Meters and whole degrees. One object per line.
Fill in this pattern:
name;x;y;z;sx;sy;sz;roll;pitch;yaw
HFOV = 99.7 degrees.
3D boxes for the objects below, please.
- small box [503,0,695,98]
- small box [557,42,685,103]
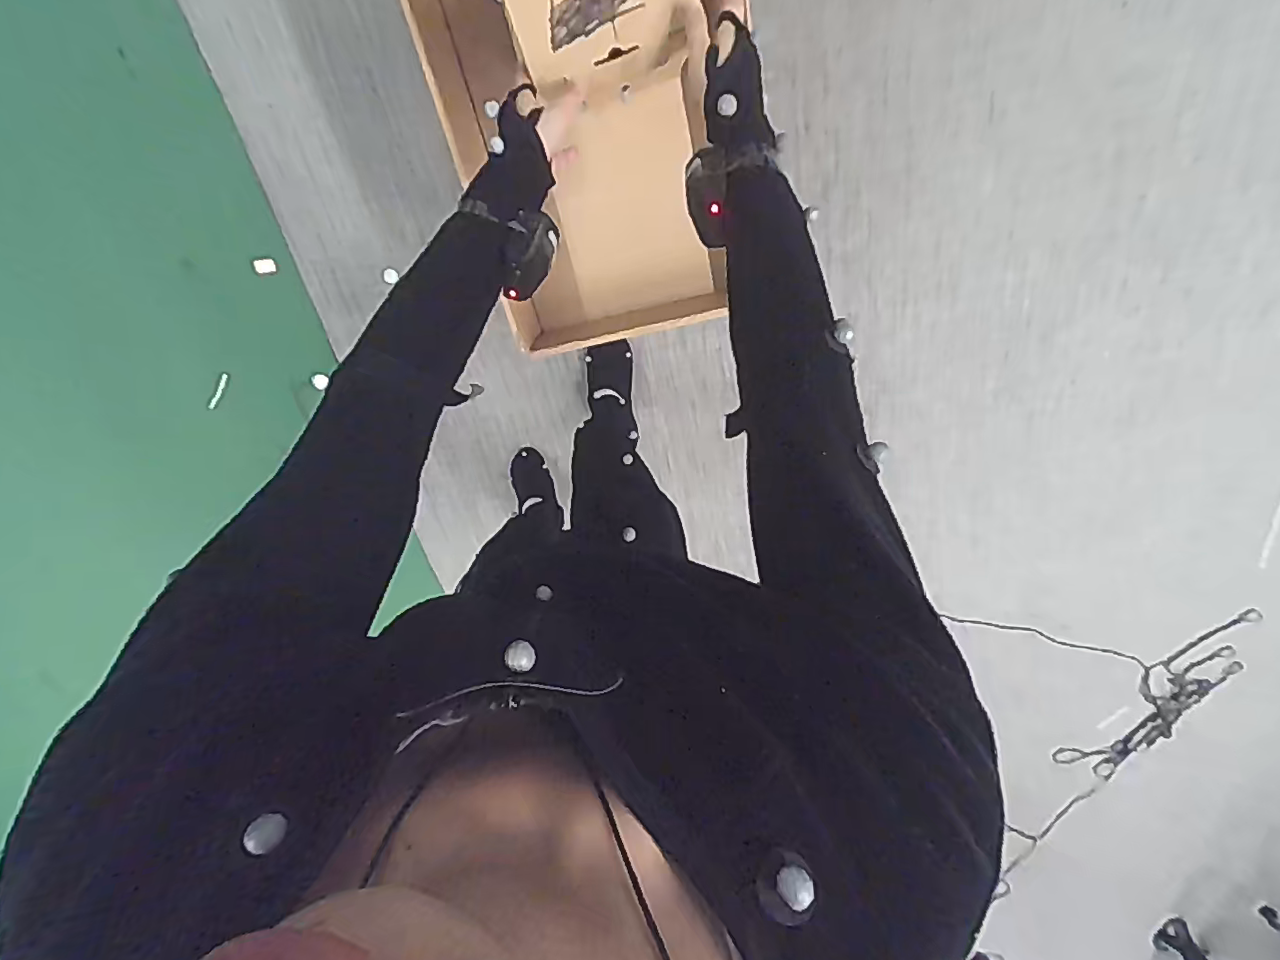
small box;-0.050;-0.504;0.533;0.168;0.176;0.179;-16;118;8
small box;-0.047;-0.592;0.671;0.168;0.176;0.179;-15;120;6
